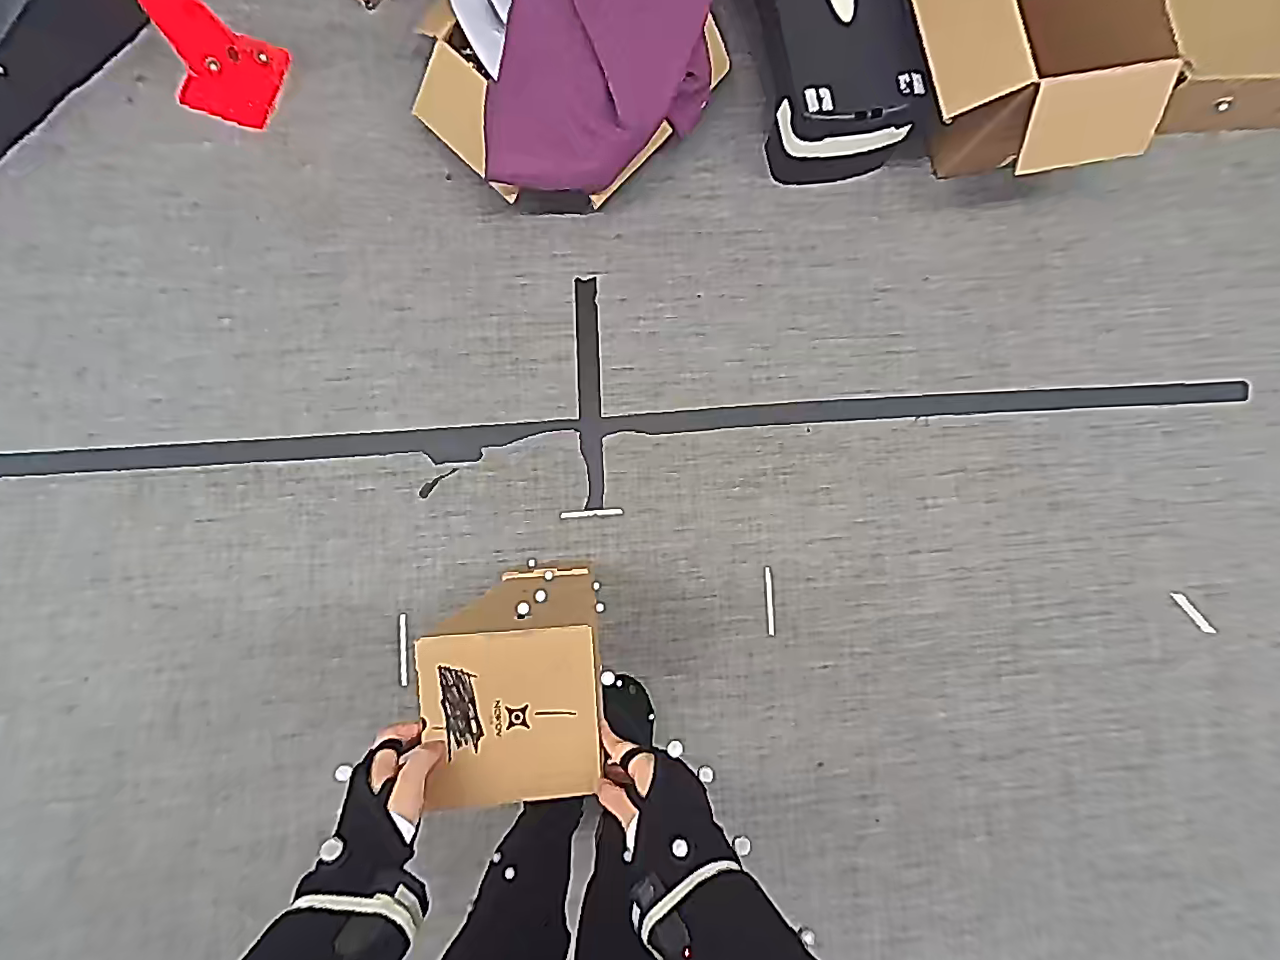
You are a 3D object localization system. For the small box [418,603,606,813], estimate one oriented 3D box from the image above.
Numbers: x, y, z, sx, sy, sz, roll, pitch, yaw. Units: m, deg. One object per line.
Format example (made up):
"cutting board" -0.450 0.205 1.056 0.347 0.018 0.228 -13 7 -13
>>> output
"small box" -0.130 0.238 0.605 0.179 0.176 0.168 -4 87 -4

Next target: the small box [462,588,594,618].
"small box" -0.148 0.257 0.768 0.168 0.176 0.179 -2 87 -4

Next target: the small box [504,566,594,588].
"small box" -0.177 0.269 1.096 0.168 0.176 0.179 -3 88 -3

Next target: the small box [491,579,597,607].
"small box" -0.158 0.266 0.931 0.168 0.176 0.179 -3 87 -3
